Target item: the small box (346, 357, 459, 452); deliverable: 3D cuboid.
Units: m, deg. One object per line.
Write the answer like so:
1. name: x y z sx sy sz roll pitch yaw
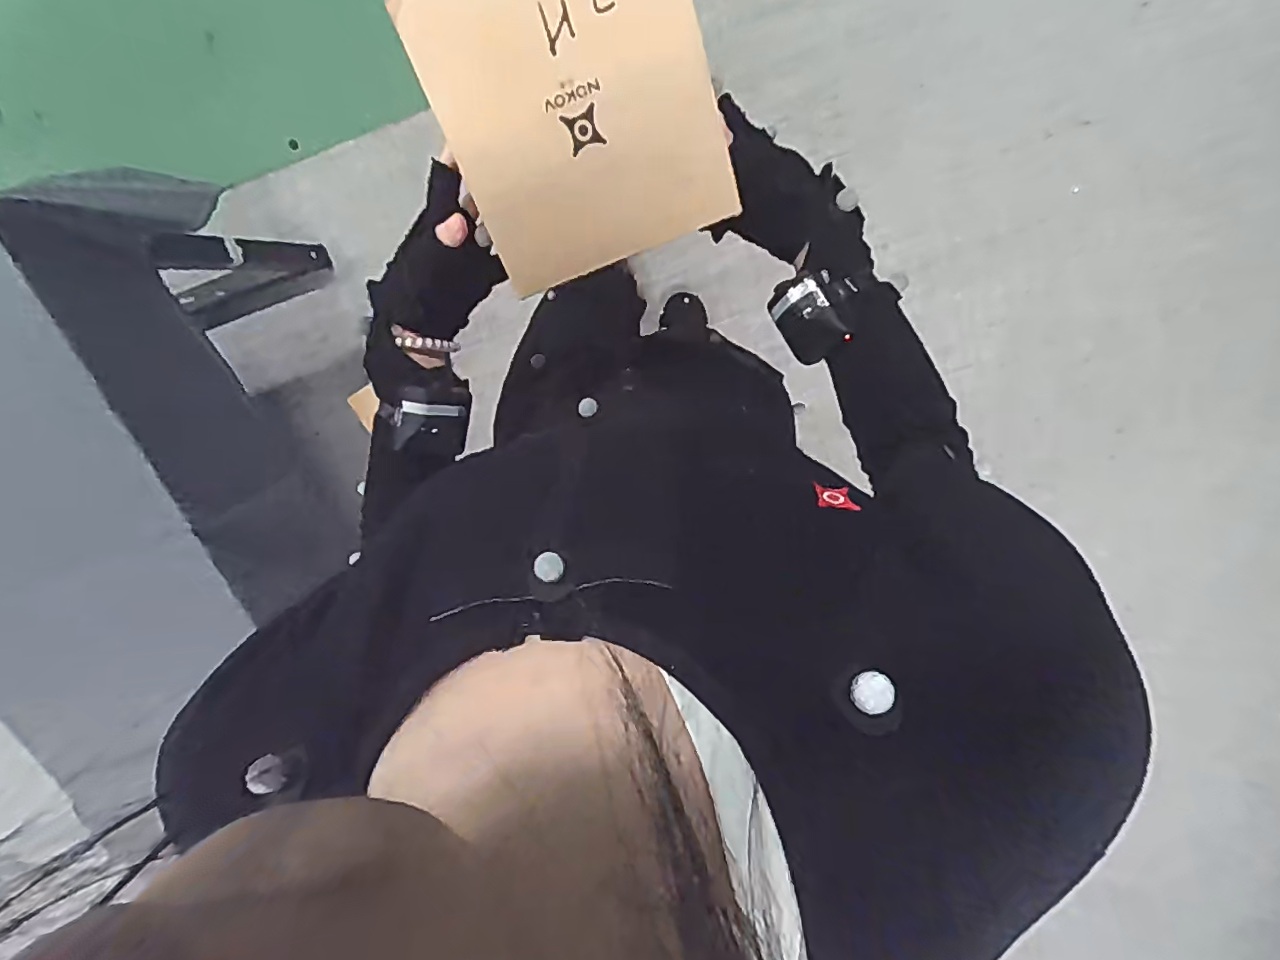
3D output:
1. small box: -0.610 -0.201 1.413 0.179 0.176 0.168 -27 108 14

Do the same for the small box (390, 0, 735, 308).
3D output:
1. small box: -0.043 -0.254 0.404 0.168 0.176 0.179 -19 117 5
